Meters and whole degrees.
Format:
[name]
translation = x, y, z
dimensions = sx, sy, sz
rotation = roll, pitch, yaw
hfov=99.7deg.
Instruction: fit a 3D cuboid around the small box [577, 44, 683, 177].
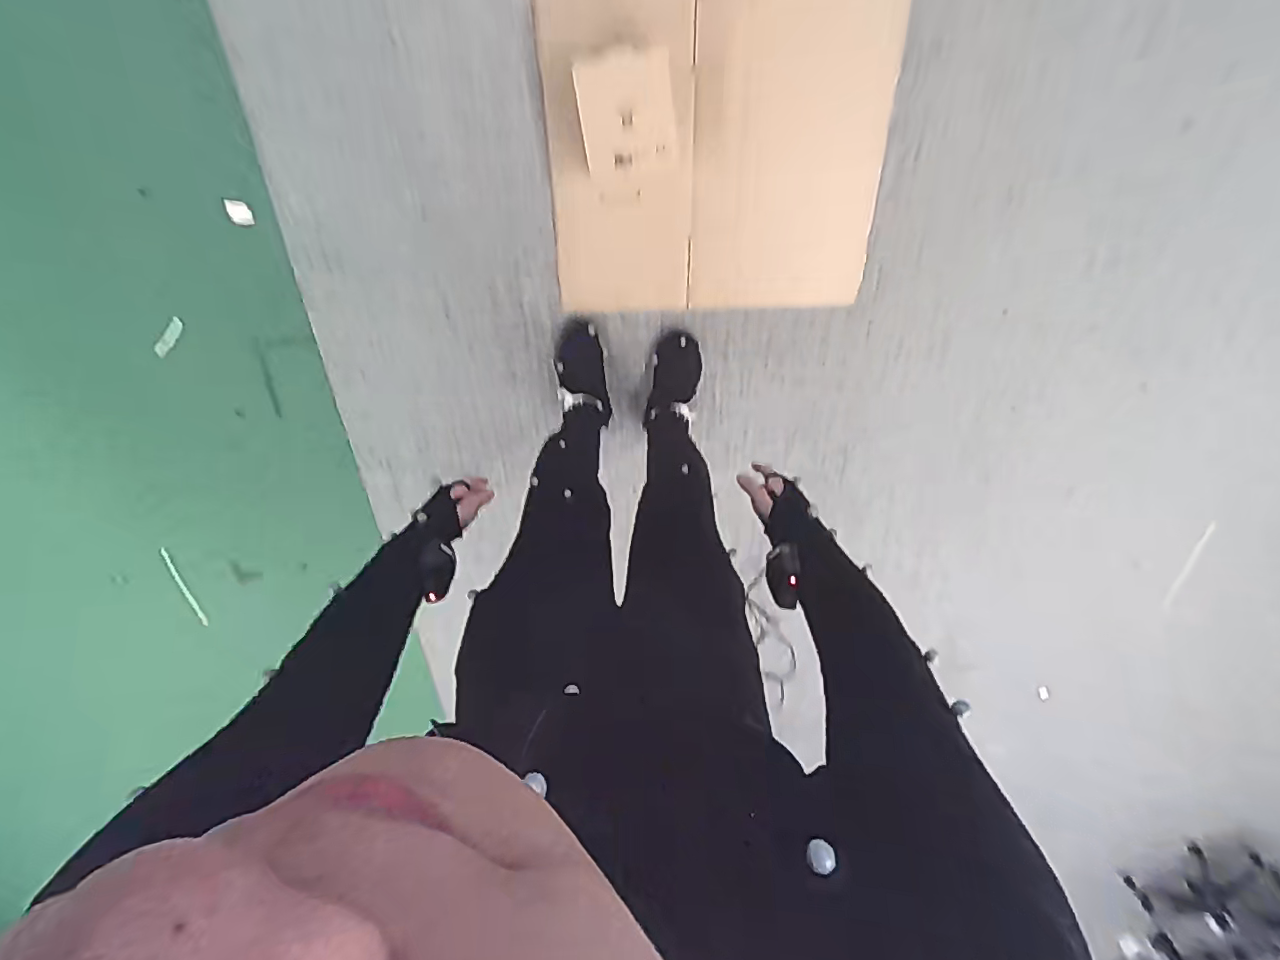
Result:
[small box]
translation = -0.018, -0.672, 1.003
dimensions = 0.168, 0.176, 0.179
rotation = -8, 120, 3
